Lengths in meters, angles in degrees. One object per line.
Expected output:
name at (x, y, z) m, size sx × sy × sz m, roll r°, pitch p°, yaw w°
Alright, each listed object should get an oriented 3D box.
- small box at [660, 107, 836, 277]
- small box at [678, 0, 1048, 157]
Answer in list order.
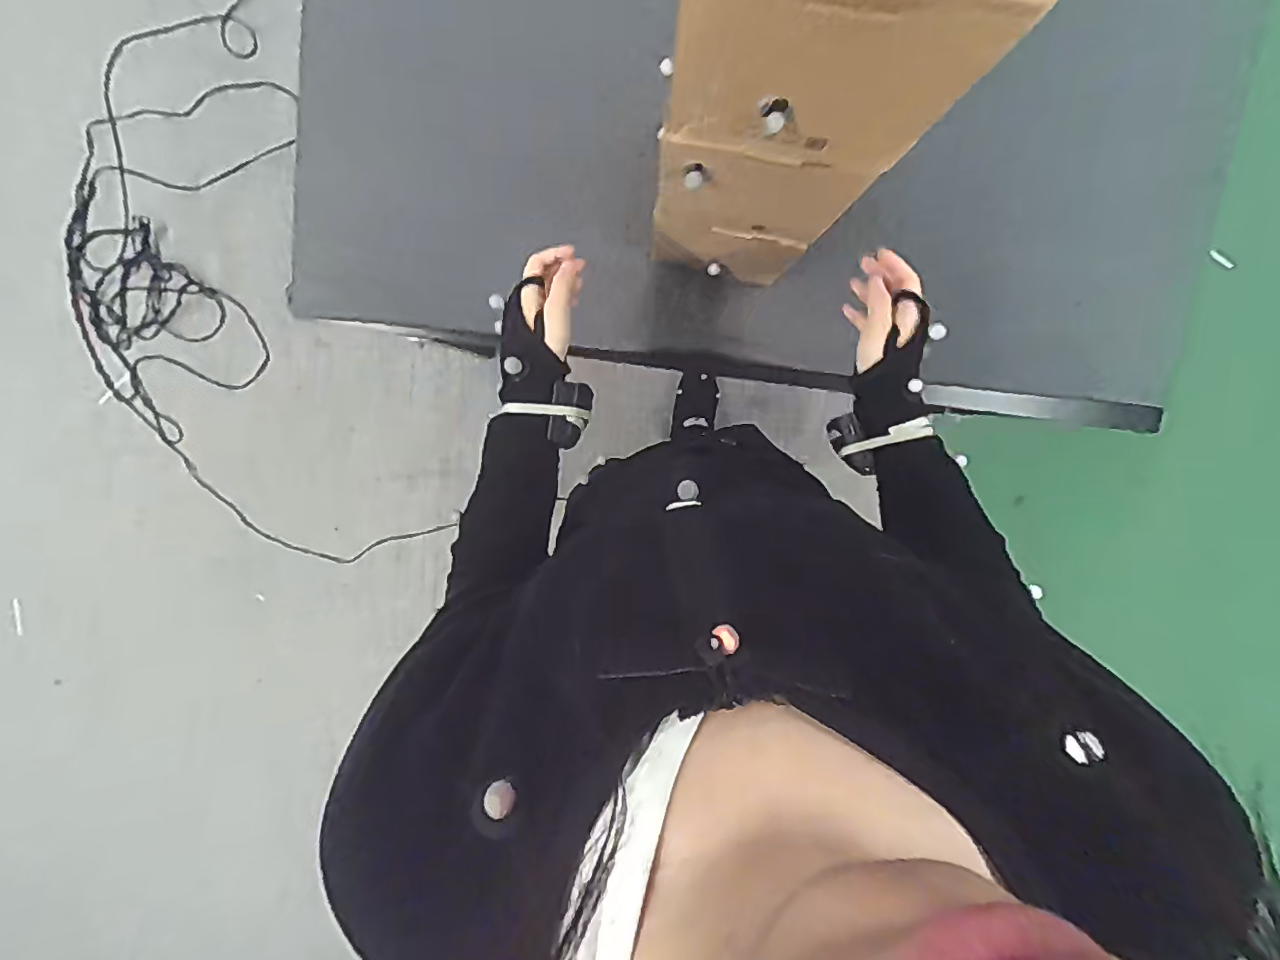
small box at (0.119, -0.357, 0.624) m, size 0.168 × 0.176 × 0.179 m, roll 12°, pitch 97°, yaw -1°
small box at (0.116, -0.319, 0.300) m, size 0.168 × 0.176 × 0.179 m, roll 7°, pitch 97°, yaw -1°
